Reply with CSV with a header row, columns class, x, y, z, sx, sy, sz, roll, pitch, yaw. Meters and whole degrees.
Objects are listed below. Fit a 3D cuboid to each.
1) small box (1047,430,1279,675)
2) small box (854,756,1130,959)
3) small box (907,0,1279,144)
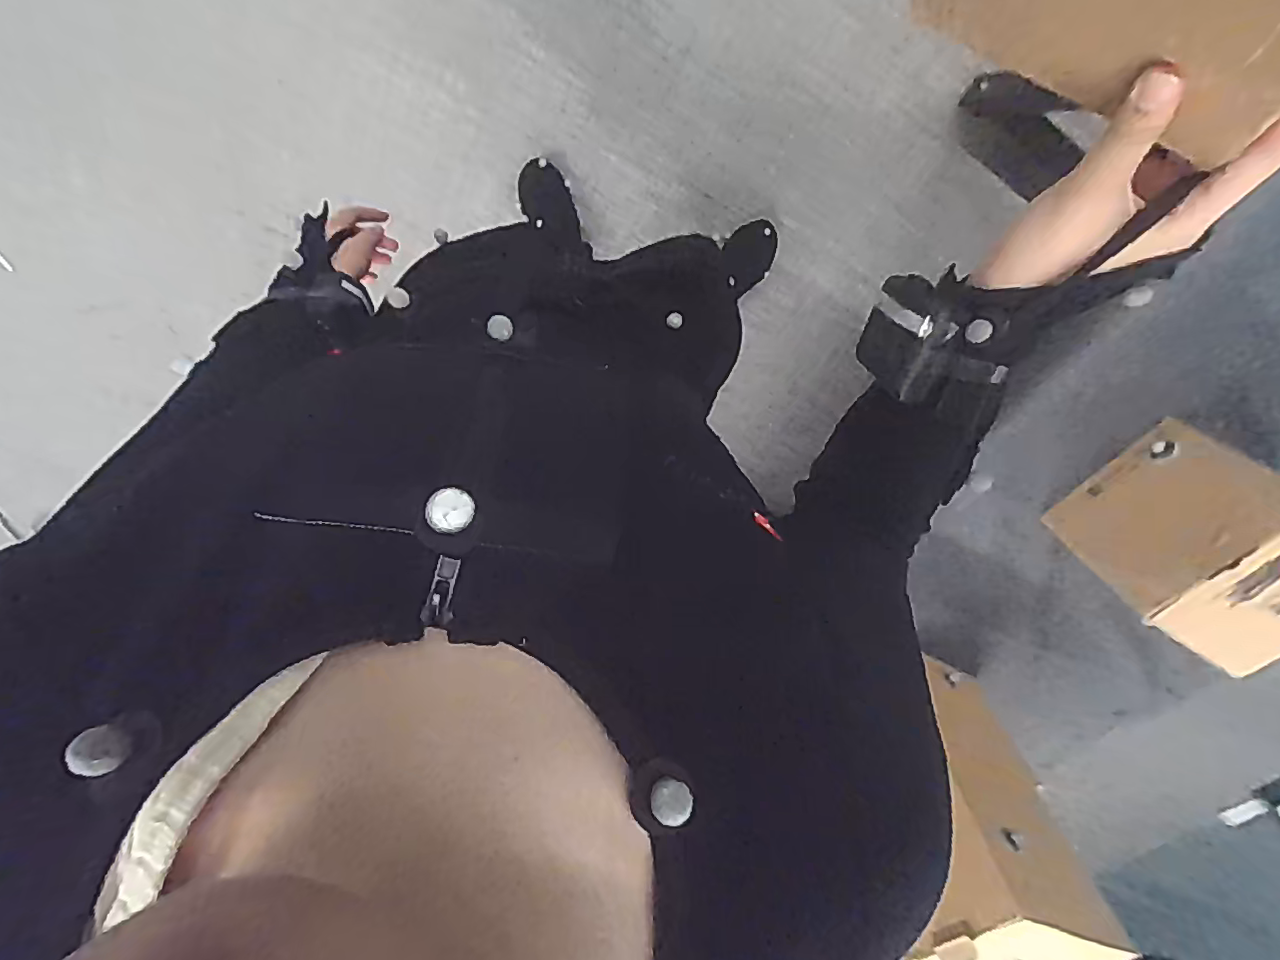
class,x,y,z,sx,sy,sz,roll,pitch,yaw
small box,0.602,0.069,0.583,0.179,0.176,0.168,28,118,-18
small box,0.387,0.455,0.632,0.179,0.176,0.168,26,119,-16
small box,0.205,-0.262,0.165,0.176,0.168,0.179,45,110,19
